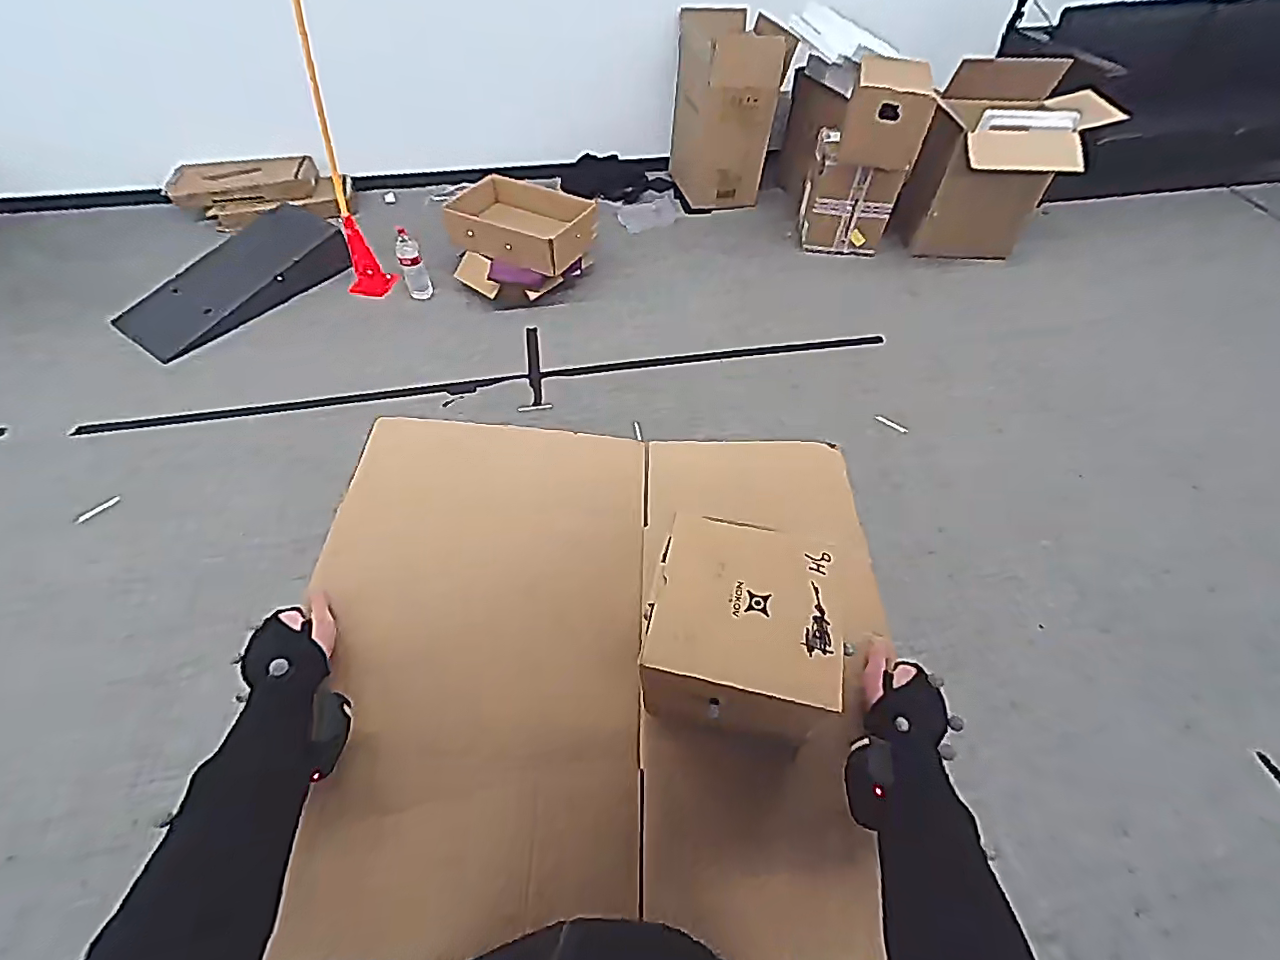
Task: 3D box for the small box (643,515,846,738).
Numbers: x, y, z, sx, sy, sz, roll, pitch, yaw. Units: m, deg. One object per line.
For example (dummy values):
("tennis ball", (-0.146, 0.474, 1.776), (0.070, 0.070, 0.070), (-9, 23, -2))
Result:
("small box", (0.110, 0.162, 0.581), (0.179, 0.176, 0.168), (9, 56, 11))
